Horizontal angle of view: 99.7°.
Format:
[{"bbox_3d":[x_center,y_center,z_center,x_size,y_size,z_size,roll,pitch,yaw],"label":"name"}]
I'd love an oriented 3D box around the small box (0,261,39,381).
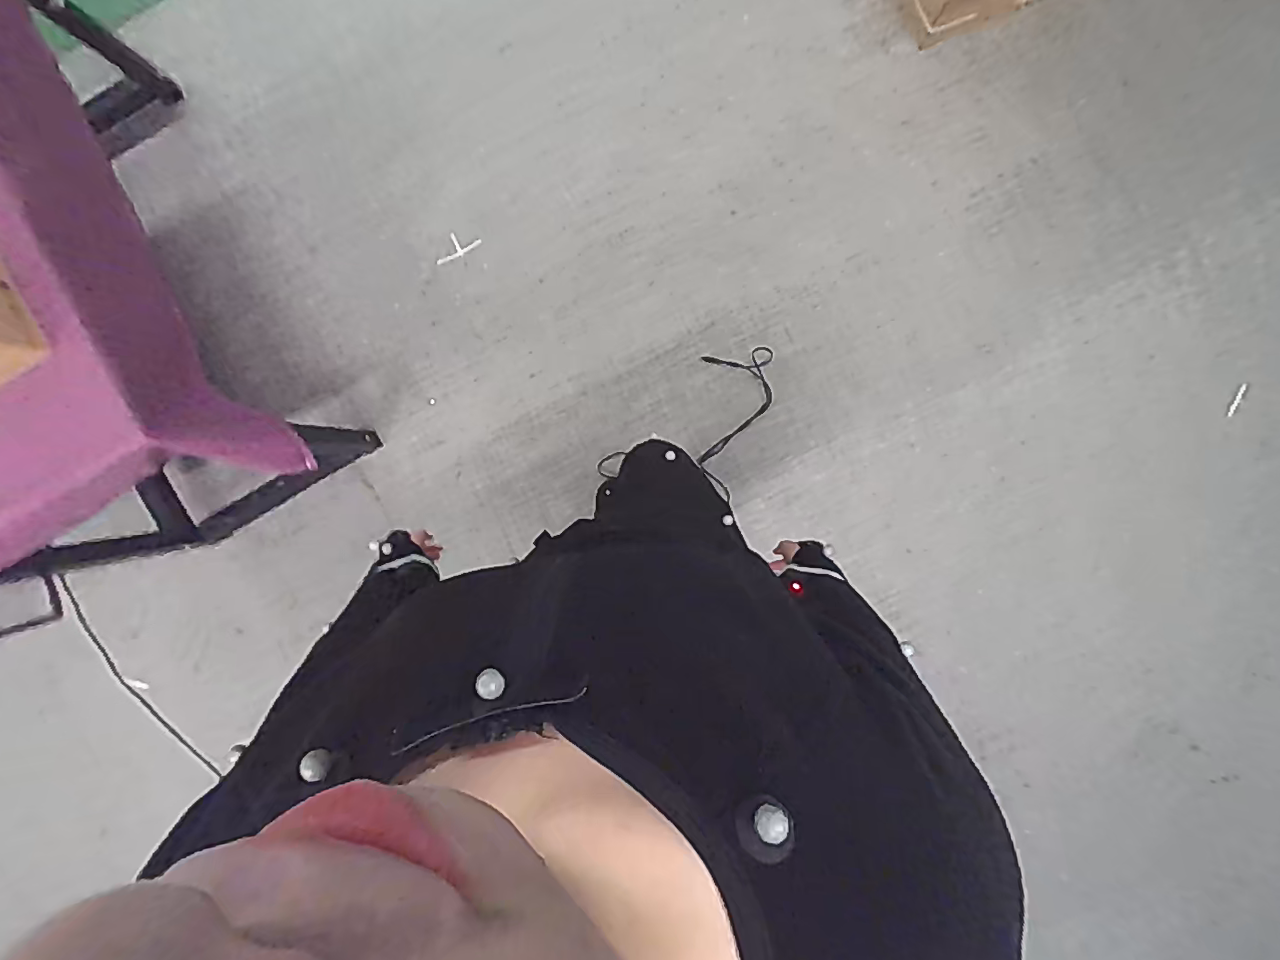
[{"bbox_3d":[-0.976,-0.218,0.719,0.179,0.176,0.168,-29,90,3],"label":"small box"}]
